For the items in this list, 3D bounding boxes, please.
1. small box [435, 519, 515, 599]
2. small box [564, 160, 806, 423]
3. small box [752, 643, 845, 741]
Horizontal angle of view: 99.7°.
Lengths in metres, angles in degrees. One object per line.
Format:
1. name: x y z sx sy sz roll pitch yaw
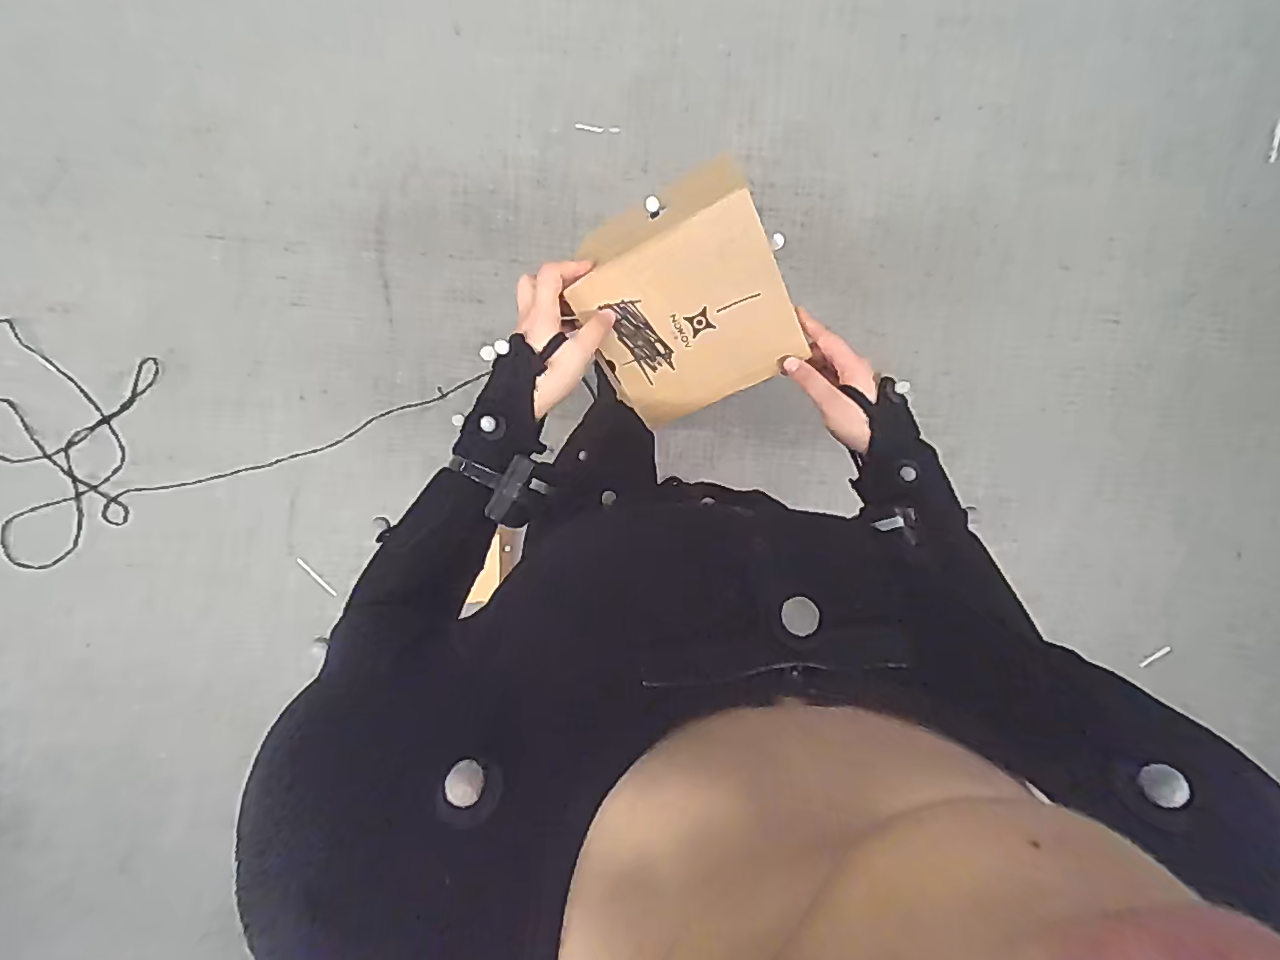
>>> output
1. small box: -0.425 0.199 1.409 0.168 0.176 0.179 1 97 -1
2. small box: 0.047 -0.194 0.557 0.179 0.176 0.168 -23 125 19
3. small box: 0.375 0.508 1.312 0.179 0.176 0.168 -1 99 -3
